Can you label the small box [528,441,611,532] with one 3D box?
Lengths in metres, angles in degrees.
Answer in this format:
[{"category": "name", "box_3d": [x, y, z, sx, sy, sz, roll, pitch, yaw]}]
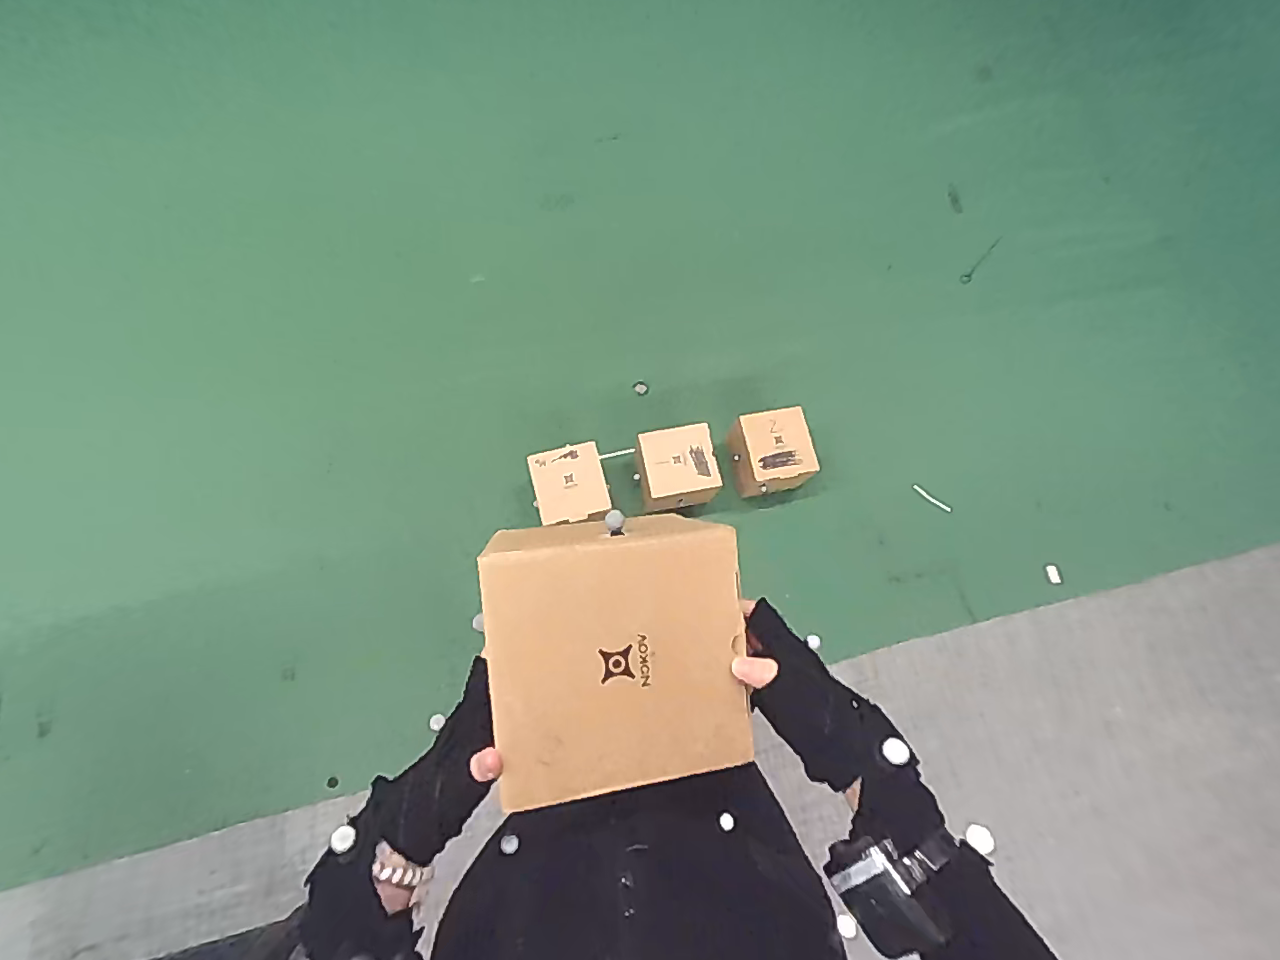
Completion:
[{"category": "small box", "box_3d": [-0.168, 0.024, 1.323, 0.168, 0.176, 0.179, -13, 78, -8]}]
